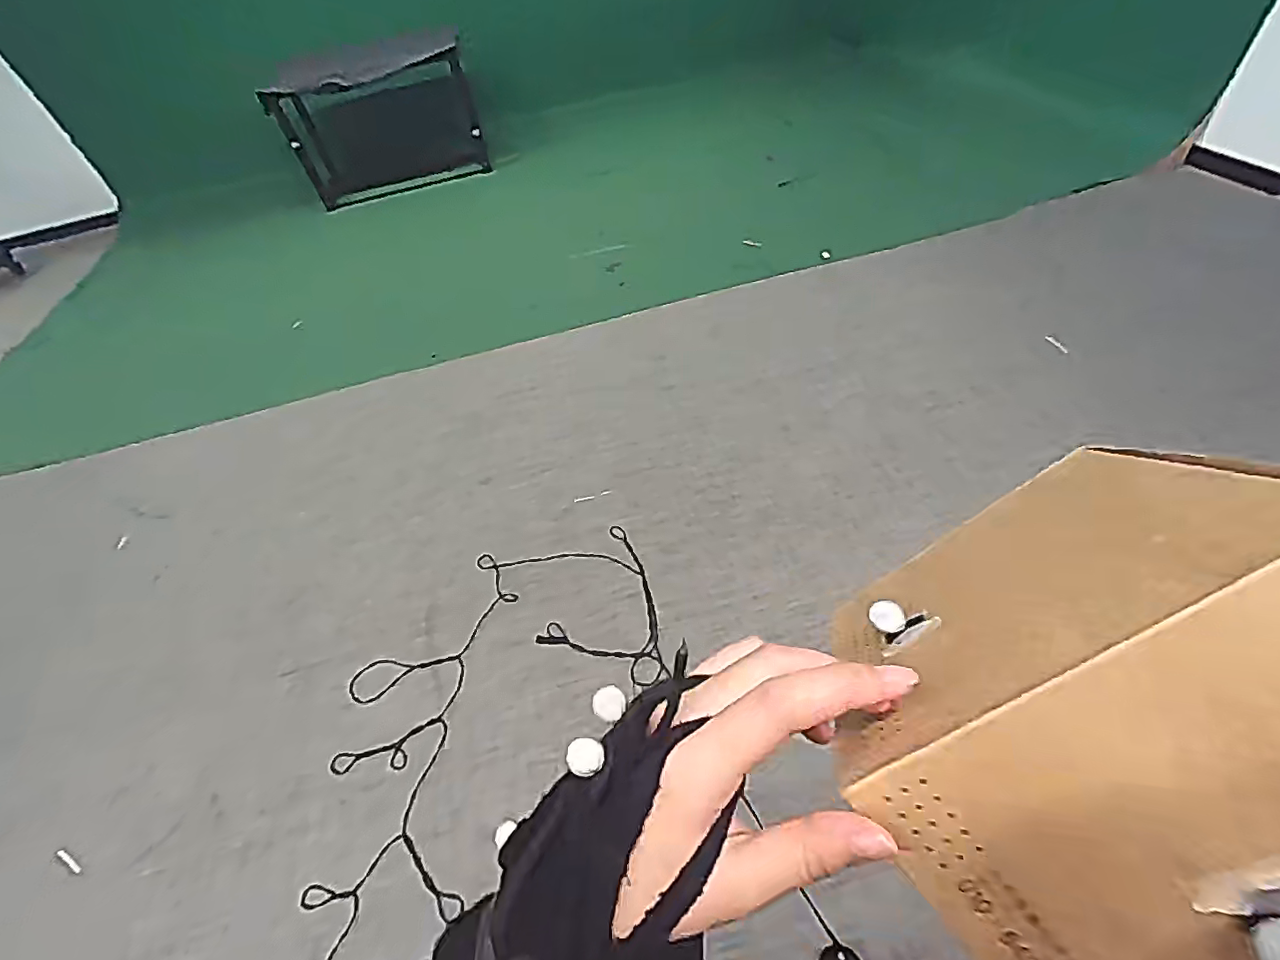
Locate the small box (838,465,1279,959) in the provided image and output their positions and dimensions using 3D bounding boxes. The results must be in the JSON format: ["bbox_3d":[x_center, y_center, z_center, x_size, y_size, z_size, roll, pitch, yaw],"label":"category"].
[{"bbox_3d":[0.206,0.115,0.234,0.176,0.179,0.168,-41,84,19],"label":"small box"}]
